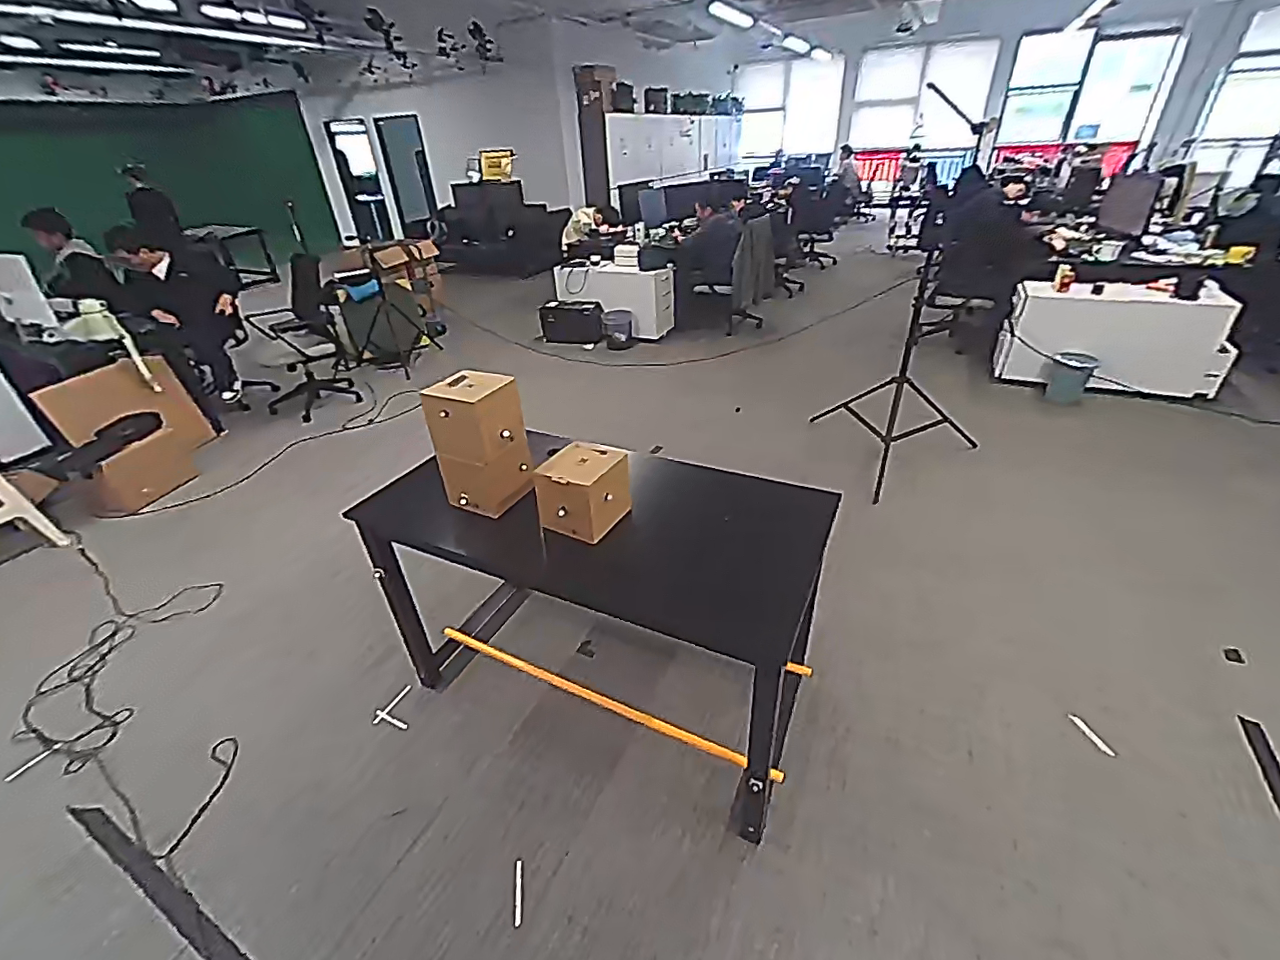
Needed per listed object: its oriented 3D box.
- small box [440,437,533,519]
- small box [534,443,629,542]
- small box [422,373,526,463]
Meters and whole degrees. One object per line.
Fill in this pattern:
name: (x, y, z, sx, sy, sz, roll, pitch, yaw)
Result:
small box: (-0.407, -0.020, 1.469, 0.168, 0.176, 0.179, 12, 36, 24)
small box: (-0.138, 0.031, 1.359, 0.168, 0.176, 0.179, 15, 37, 26)
small box: (-0.416, -0.159, 1.381, 0.179, 0.176, 0.168, 12, 35, 23)
